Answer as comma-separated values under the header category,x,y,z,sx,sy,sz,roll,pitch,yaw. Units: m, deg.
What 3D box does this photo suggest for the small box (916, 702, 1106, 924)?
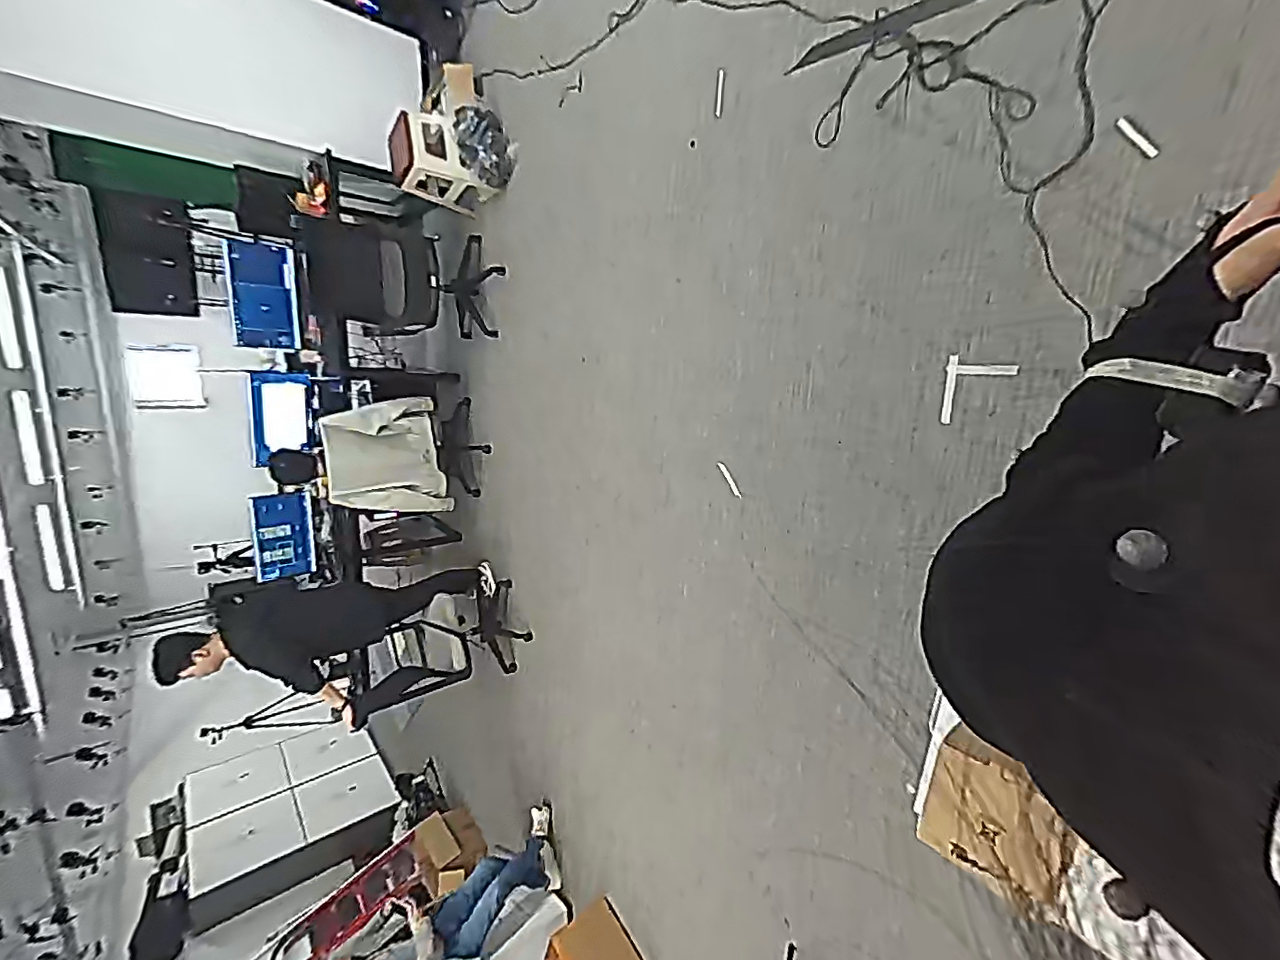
category,x,y,z,sx,sy,sz,roll,pitch,yaw
small box,0.528,0.452,0.769,0.168,0.176,0.179,22,112,46
